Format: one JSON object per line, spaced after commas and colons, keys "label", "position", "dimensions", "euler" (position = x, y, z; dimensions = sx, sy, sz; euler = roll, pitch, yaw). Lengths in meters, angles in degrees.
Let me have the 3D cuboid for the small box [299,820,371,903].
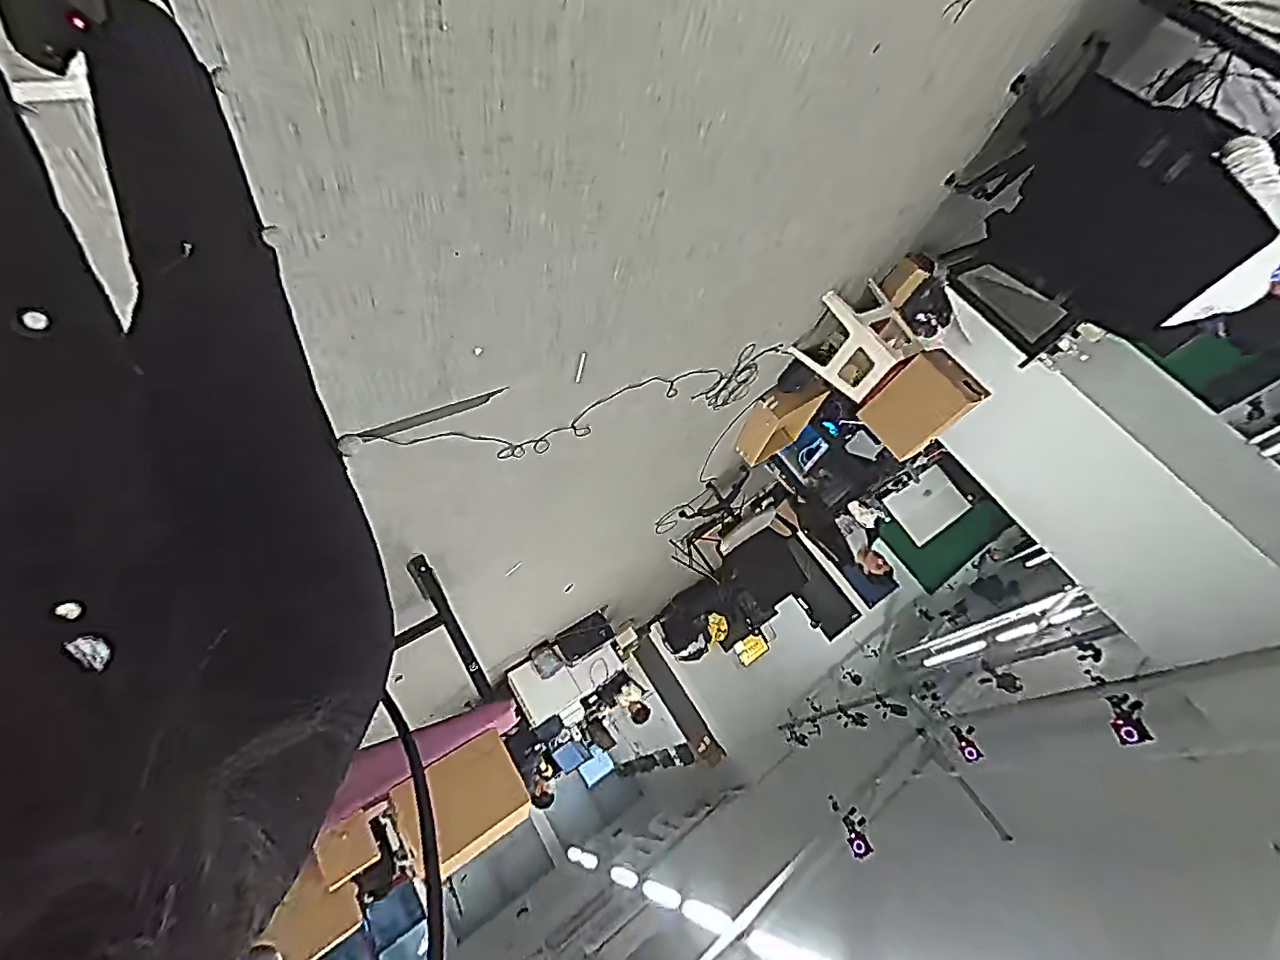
{"label": "small box", "position": [-1.033, 1.288, 1.831], "dimensions": [0.168, 0.176, 0.179], "euler": [-21, 156, -39]}
